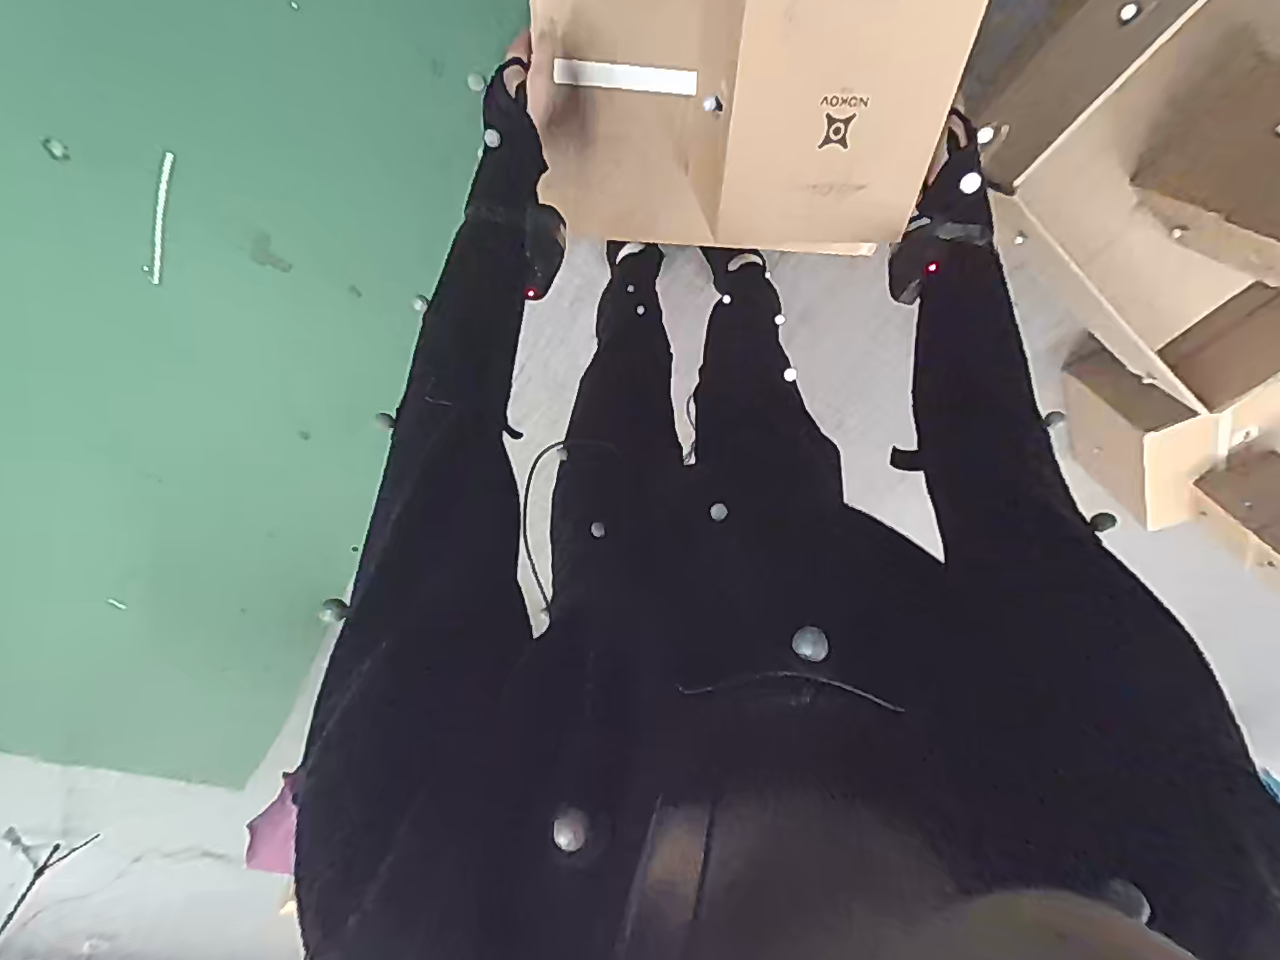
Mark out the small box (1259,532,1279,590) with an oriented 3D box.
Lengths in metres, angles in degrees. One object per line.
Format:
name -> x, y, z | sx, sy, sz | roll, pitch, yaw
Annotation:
small box -> 1.495, 0.187, 1.146 | 0.179, 0.176, 0.168 | -31, 125, 22

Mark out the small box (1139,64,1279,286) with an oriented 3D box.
small box -> 0.823, -0.395, 0.698 | 0.168, 0.176, 0.179 | 26, 126, -21

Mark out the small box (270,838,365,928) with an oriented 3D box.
small box -> -0.916, 1.153, 1.546 | 0.168, 0.176, 0.179 | 27, 125, -24

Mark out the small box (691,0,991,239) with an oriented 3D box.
small box -> 0.141, -0.321, 0.452 | 0.168, 0.176, 0.179 | -2, 134, -5

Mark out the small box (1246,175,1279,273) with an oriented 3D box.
small box -> 0.822, -0.289, 0.573 | 0.168, 0.176, 0.179 | 24, 127, -21
